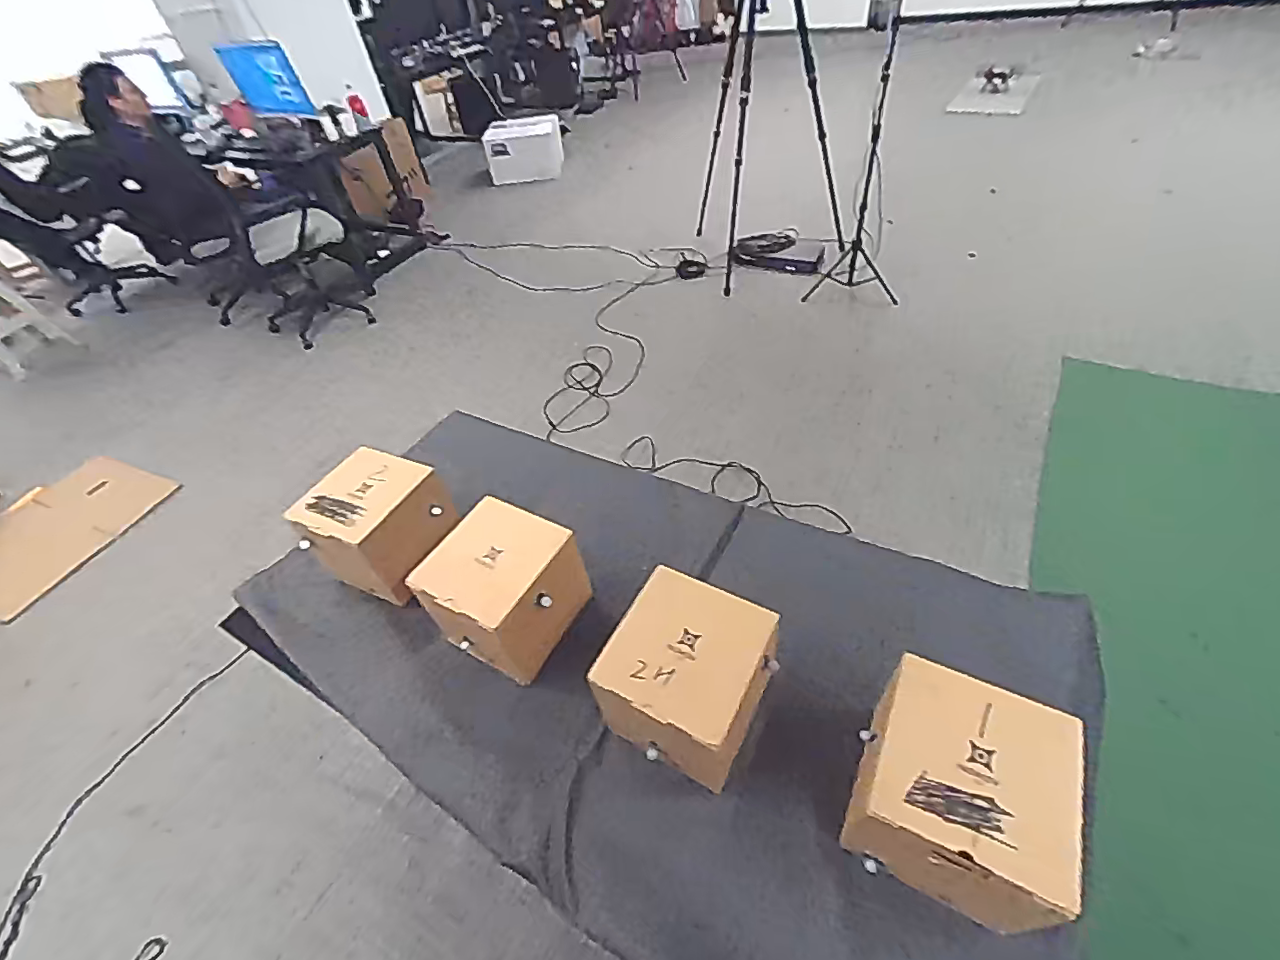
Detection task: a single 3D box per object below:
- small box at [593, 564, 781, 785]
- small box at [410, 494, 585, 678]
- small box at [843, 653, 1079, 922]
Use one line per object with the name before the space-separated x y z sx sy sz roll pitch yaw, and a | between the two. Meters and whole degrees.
small box | 0.063 0.246 0.687 0.168 0.176 0.179 20 53 25
small box | -0.196 0.157 0.807 0.168 0.176 0.179 20 53 23
small box | 0.328 0.327 0.576 0.168 0.176 0.179 19 52 24
